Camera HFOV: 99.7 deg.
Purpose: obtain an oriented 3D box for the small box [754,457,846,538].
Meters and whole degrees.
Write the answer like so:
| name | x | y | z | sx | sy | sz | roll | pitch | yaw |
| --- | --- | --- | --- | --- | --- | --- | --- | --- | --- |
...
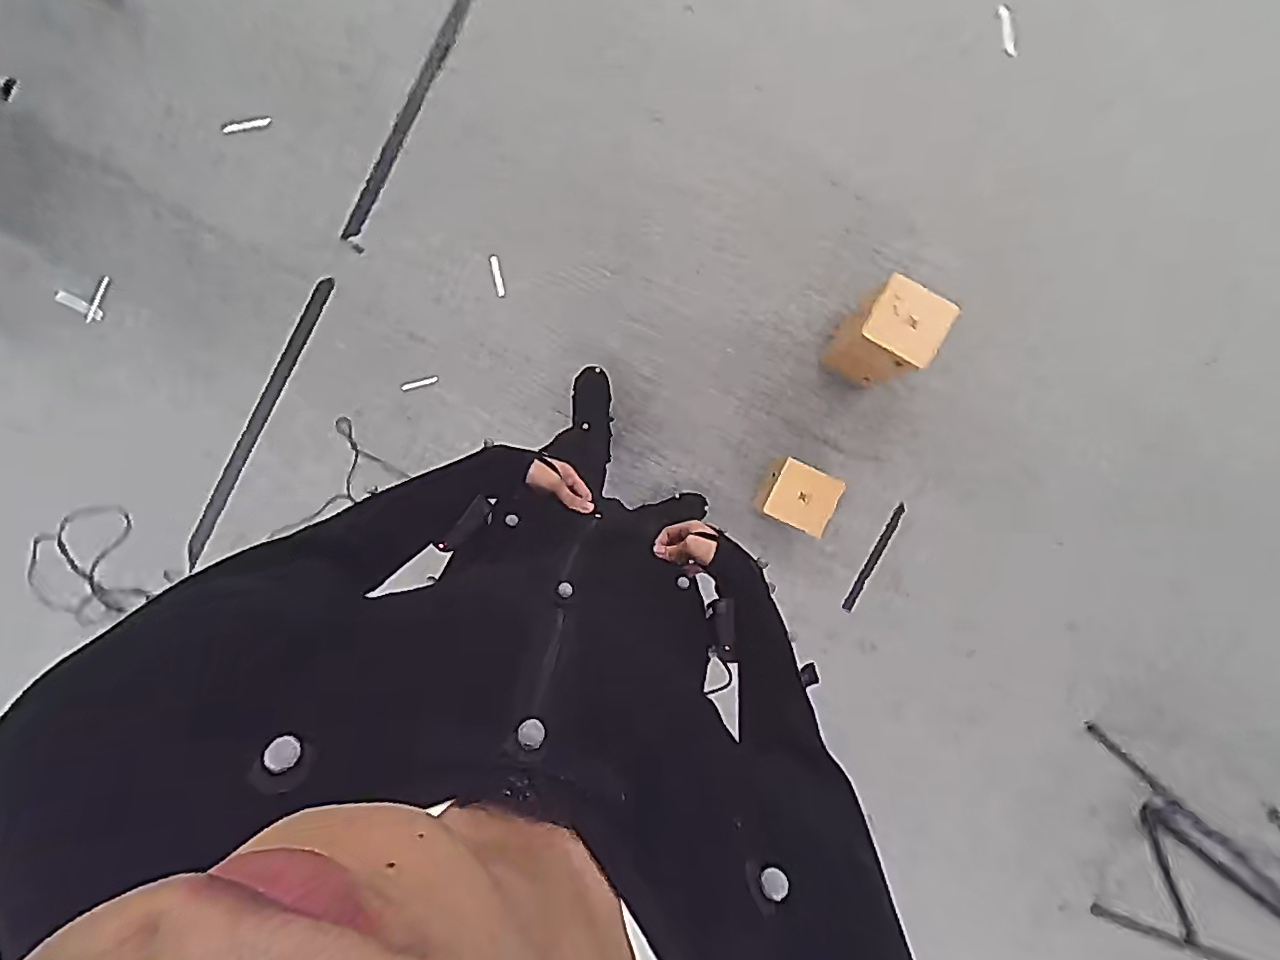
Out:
| name | x | y | z | sx | sy | sz | roll | pitch | yaw |
| --- | --- | --- | --- | --- | --- | --- | --- | --- | --- |
| small box | 0.441 | 0.044 | 1.525 | 0.179 | 0.176 | 0.168 | 25 | 94 | -1 |

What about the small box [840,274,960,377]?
| name | x | y | z | sx | sy | sz | roll | pitch | yaw |
| --- | --- | --- | --- | --- | --- | --- | --- | --- | --- |
| small box | 0.630 | -0.369 | 1.331 | 0.179 | 0.176 | 0.168 | 30 | 92 | 1 |

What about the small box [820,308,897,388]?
| name | x | y | z | sx | sy | sz | roll | pitch | yaw |
| --- | --- | --- | --- | --- | --- | --- | --- | --- | --- |
| small box | 0.634 | -0.369 | 1.496 | 0.179 | 0.176 | 0.168 | 31 | 93 | 0 |
